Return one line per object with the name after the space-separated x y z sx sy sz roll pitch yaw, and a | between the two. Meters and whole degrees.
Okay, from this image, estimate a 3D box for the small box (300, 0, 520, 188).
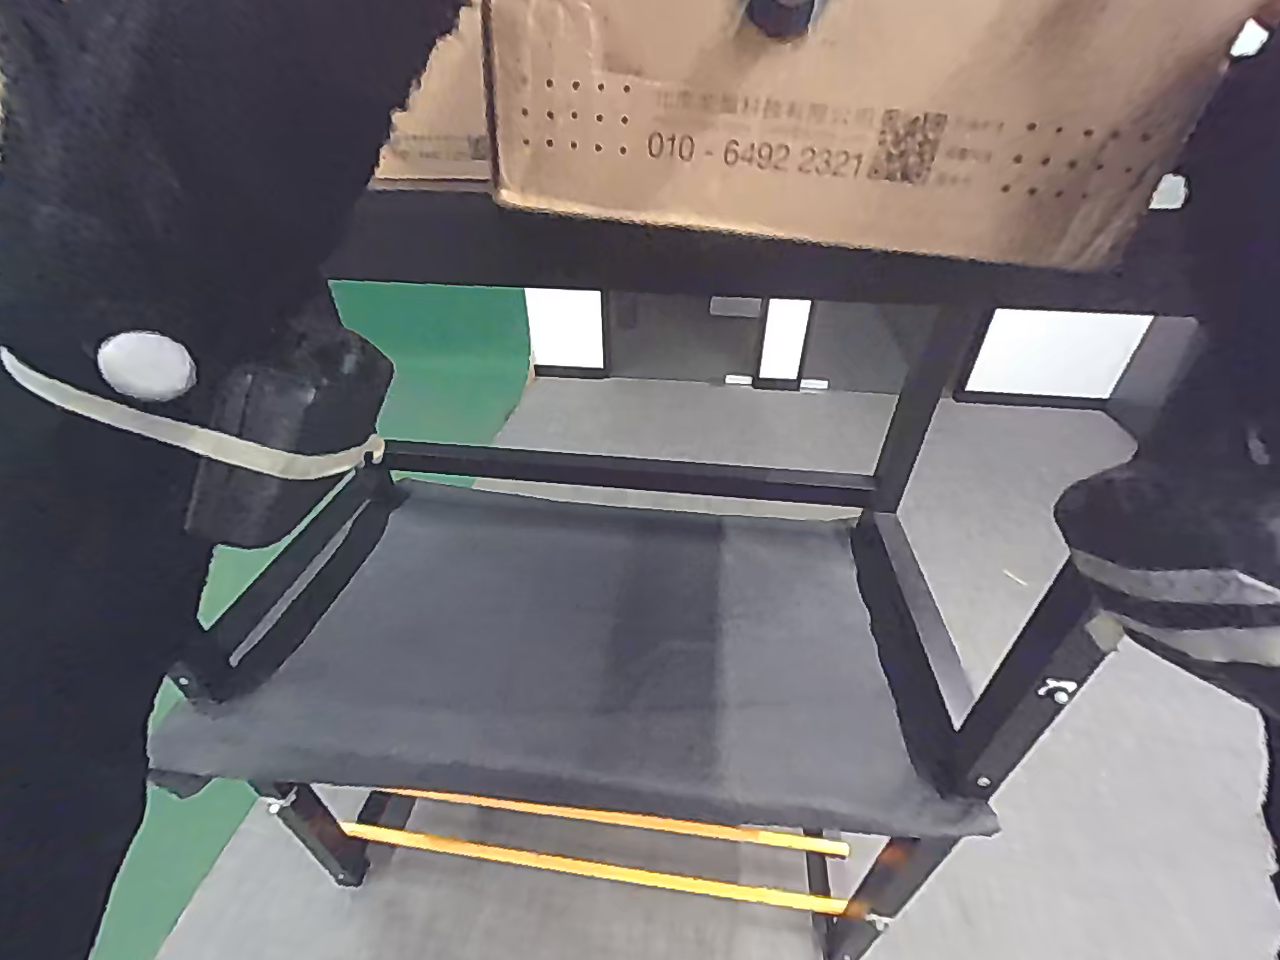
-0.125 -0.325 0.410 0.168 0.176 0.179 3 35 4 | small box
